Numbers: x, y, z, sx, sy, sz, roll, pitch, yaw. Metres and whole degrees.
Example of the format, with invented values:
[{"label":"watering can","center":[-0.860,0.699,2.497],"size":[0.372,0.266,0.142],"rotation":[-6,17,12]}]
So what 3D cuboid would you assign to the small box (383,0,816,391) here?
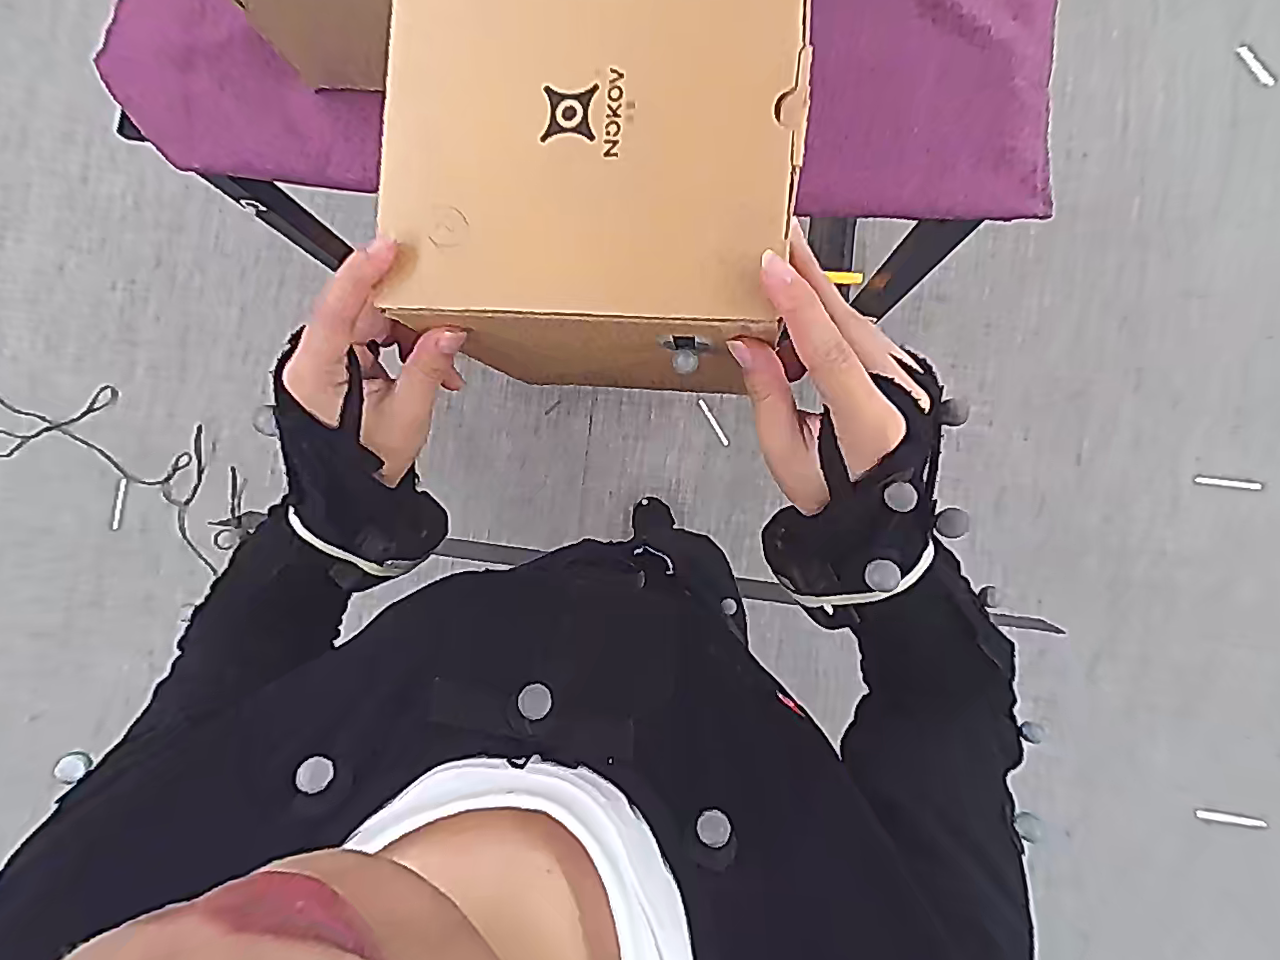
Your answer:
[{"label":"small box","center":[-0.007,-0.146,0.299],"size":[0.179,0.176,0.168],"rotation":[4,90,9]}]
